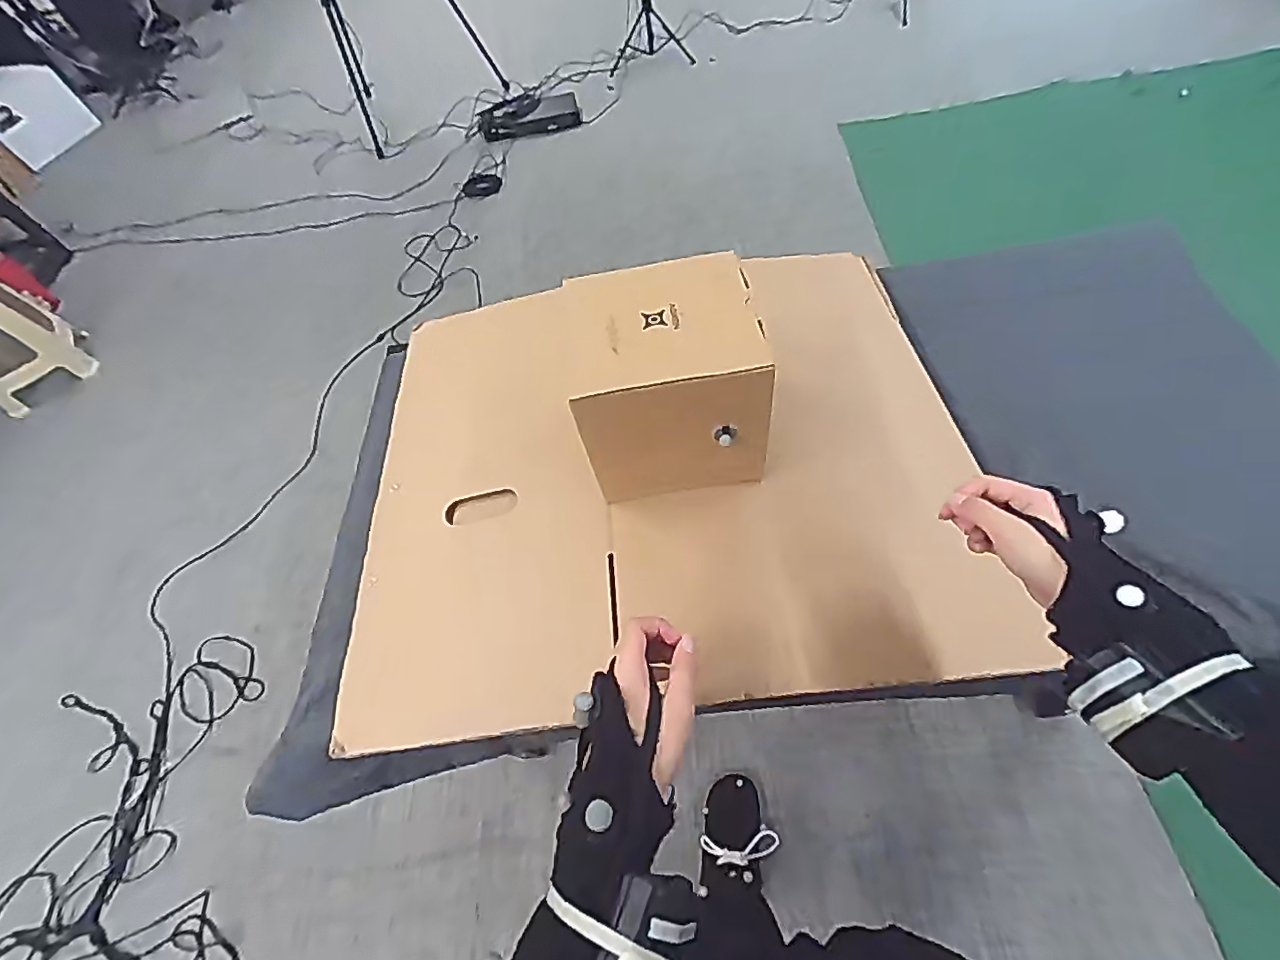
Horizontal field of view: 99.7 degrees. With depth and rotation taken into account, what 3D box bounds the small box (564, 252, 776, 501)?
[{"bbox_3d":[0.028,-0.098,0.553,0.179,0.176,0.168,-10,55,3],"label":"small box"}]
